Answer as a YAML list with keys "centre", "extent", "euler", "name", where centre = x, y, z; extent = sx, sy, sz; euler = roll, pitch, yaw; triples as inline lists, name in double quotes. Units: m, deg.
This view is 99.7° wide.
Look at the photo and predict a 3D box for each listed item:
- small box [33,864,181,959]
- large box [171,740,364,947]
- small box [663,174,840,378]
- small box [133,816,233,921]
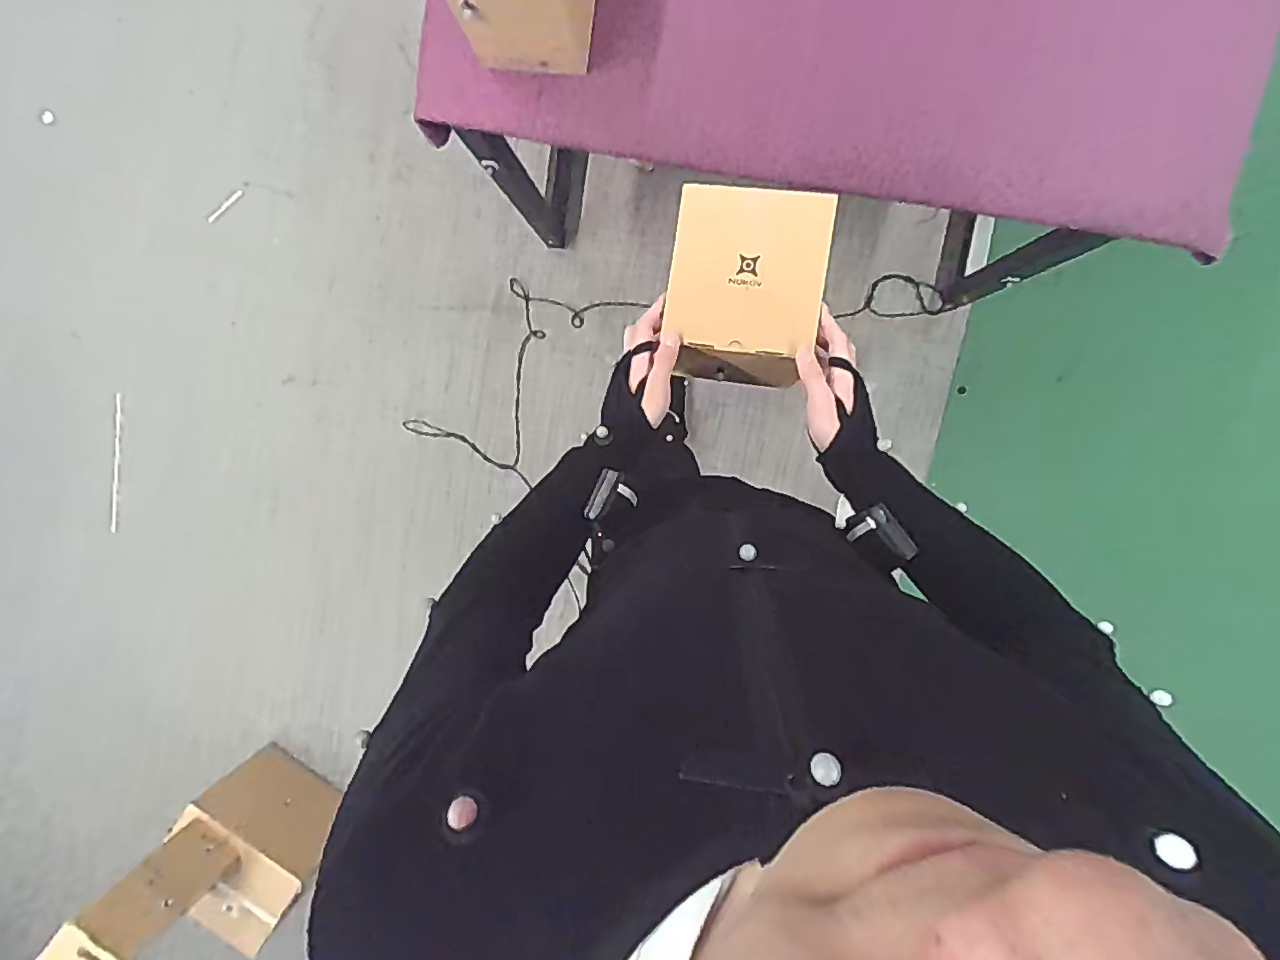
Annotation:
- centre: [-1.265, 1.081, 1.296]
  extent: [0.168, 0.176, 0.179]
  euler: [41, 98, -2]
  name: "small box"
- centre: [-1.191, 1.120, 1.707]
  extent: [0.408, 0.320, 0.320]
  euler: [34, 99, -1]
  name: "large box"
- centre: [0.125, -0.232, 0.653]
  extent: [0.168, 0.176, 0.179]
  euler: [9, 92, 7]
  name: "small box"
- centre: [-1.260, 1.066, 1.459]
  extent: [0.168, 0.176, 0.179]
  euler: [40, 96, -1]
  name: "small box"
